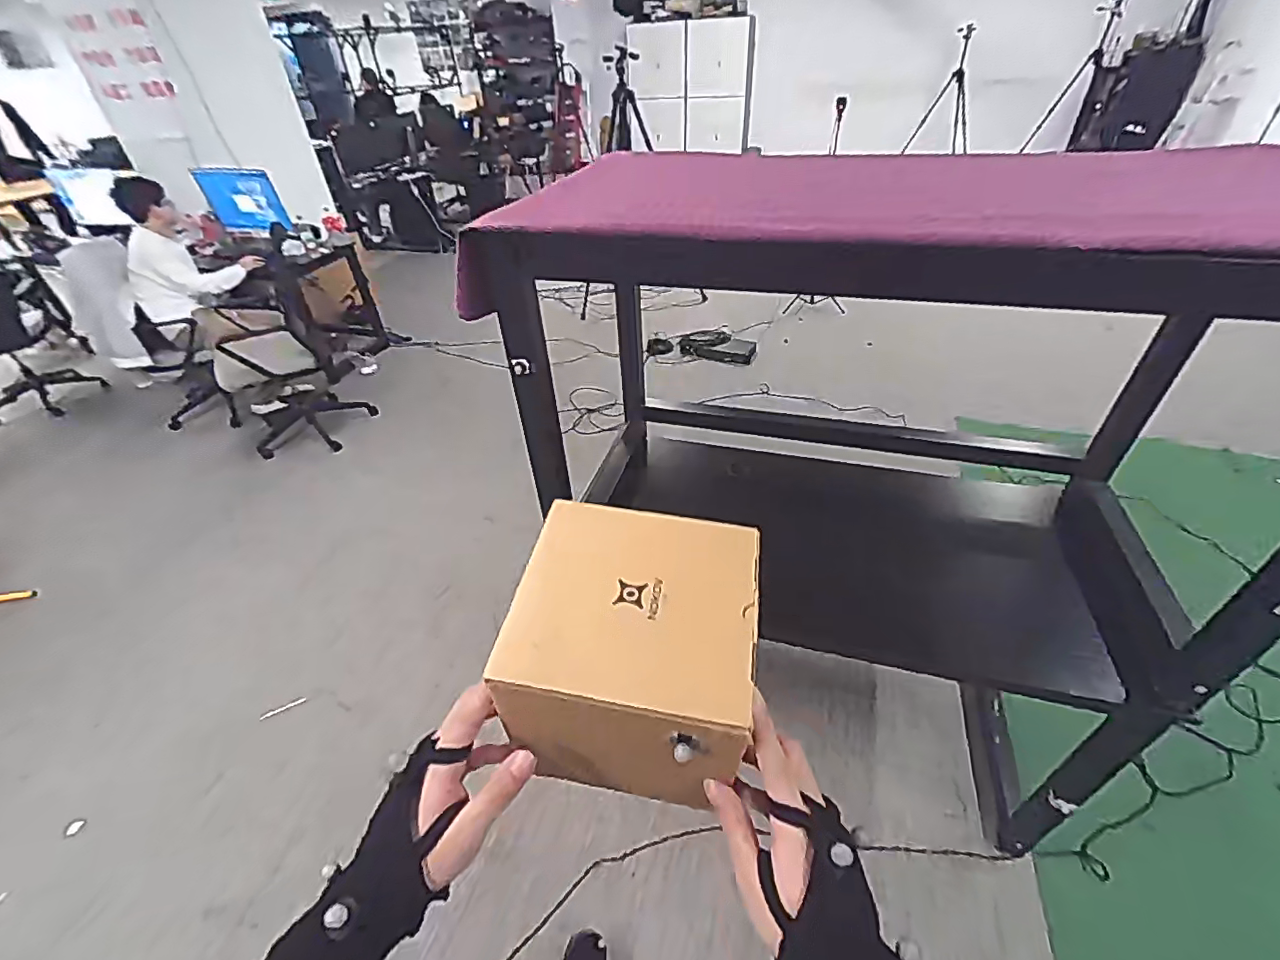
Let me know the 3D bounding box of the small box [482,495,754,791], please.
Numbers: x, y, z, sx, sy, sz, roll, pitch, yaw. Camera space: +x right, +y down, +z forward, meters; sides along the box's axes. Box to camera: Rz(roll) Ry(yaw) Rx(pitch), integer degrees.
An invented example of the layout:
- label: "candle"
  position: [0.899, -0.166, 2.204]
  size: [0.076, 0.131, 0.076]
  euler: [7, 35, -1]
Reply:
- label: "small box"
  position: [-0.006, 0.136, 0.454]
  size: [0.179, 0.176, 0.168]
  euler: [7, 45, 7]
